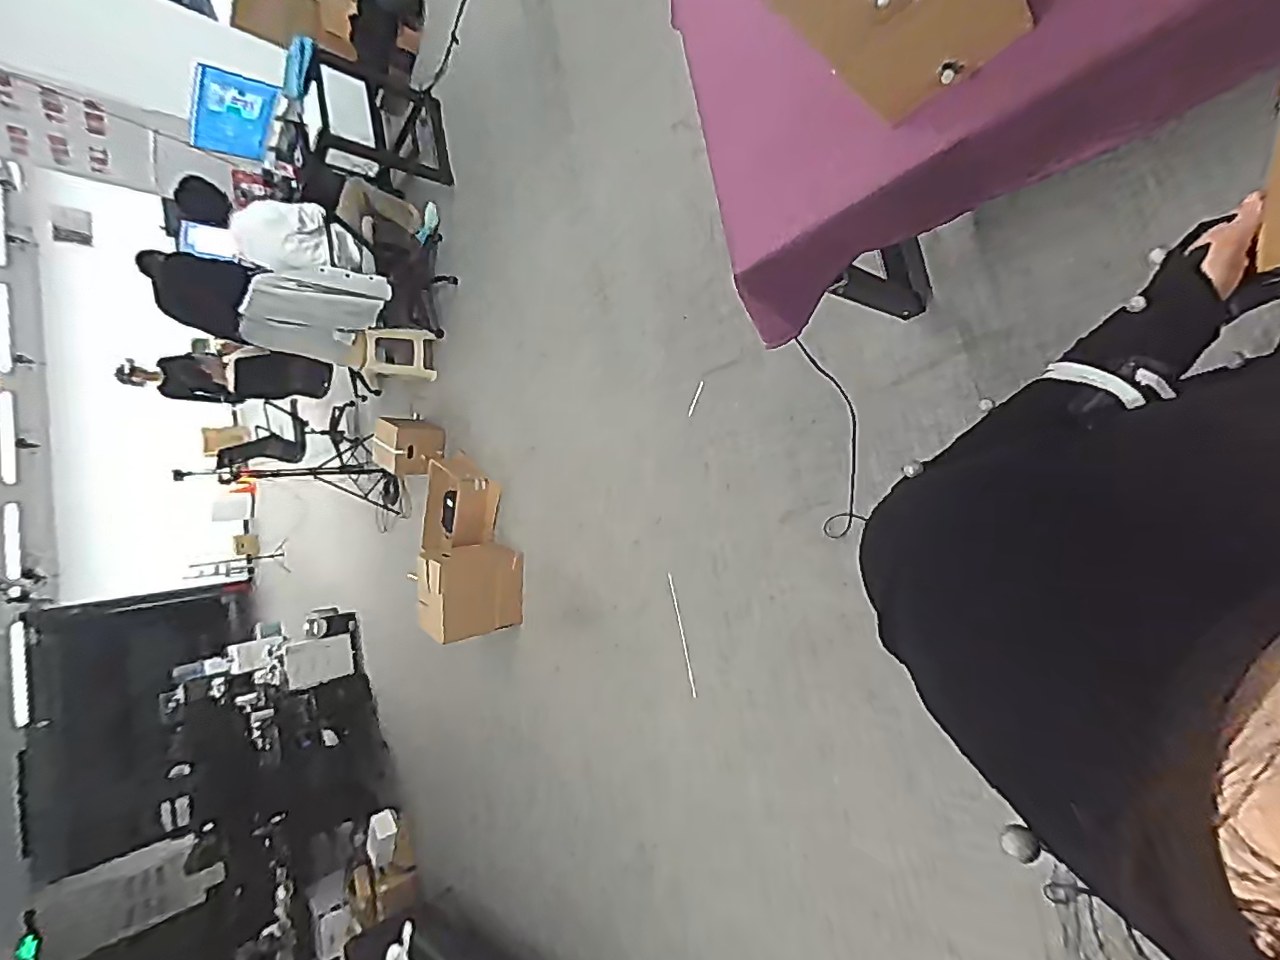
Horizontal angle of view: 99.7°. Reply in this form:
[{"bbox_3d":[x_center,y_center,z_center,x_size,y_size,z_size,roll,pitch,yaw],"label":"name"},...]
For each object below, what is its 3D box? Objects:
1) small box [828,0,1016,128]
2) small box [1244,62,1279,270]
[{"bbox_3d":[0.335,-0.588,0.663,0.179,0.176,0.168,-19,79,45],"label":"small box"},{"bbox_3d":[0.497,-0.224,0.313,0.168,0.176,0.179,8,106,38],"label":"small box"}]
